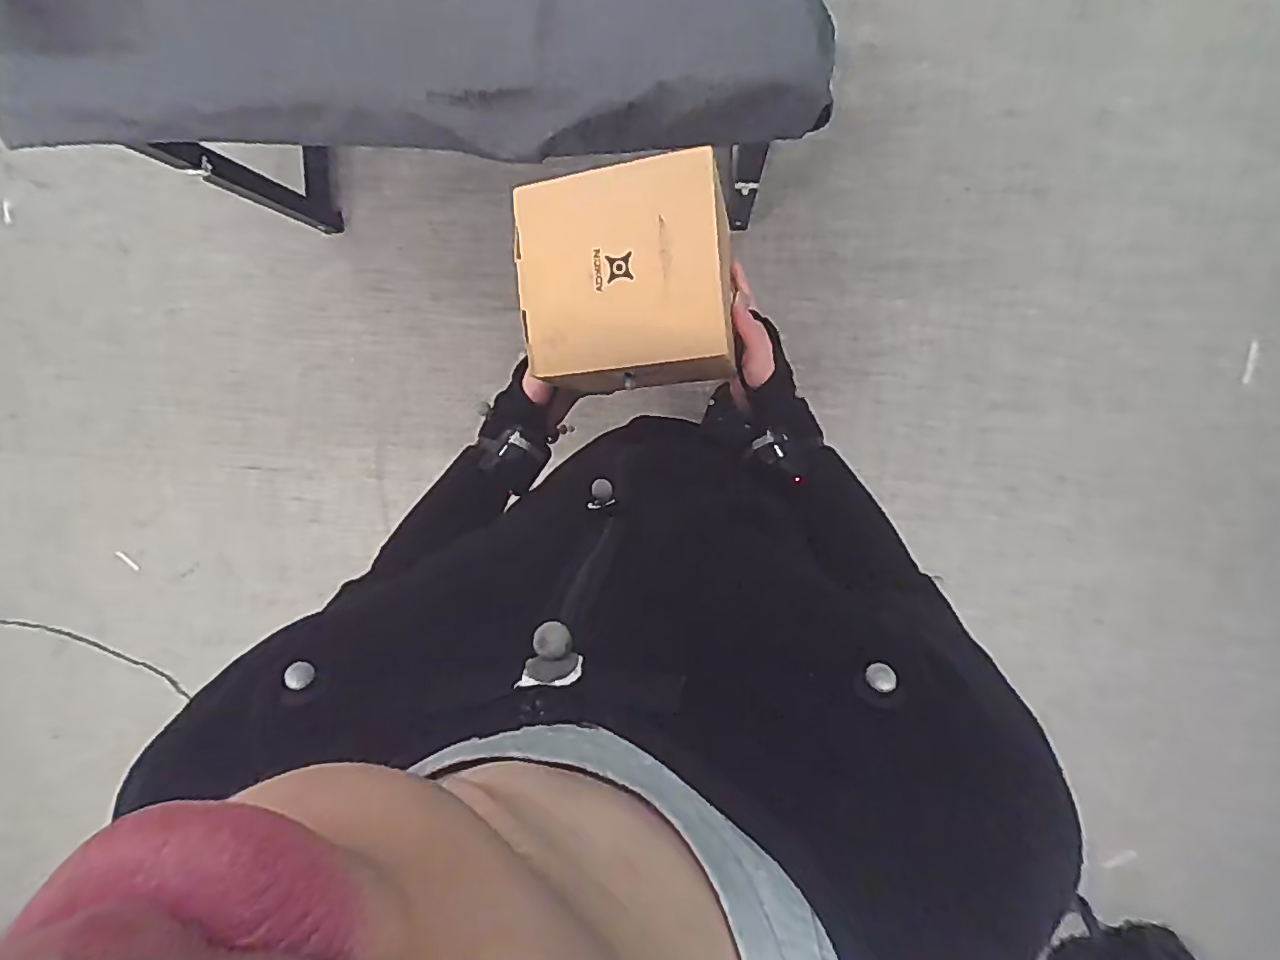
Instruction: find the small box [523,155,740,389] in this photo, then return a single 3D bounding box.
[{"bbox_3d":[0.004,-0.185,0.540,0.179,0.176,0.168,-4,95,12],"label":"small box"}]
